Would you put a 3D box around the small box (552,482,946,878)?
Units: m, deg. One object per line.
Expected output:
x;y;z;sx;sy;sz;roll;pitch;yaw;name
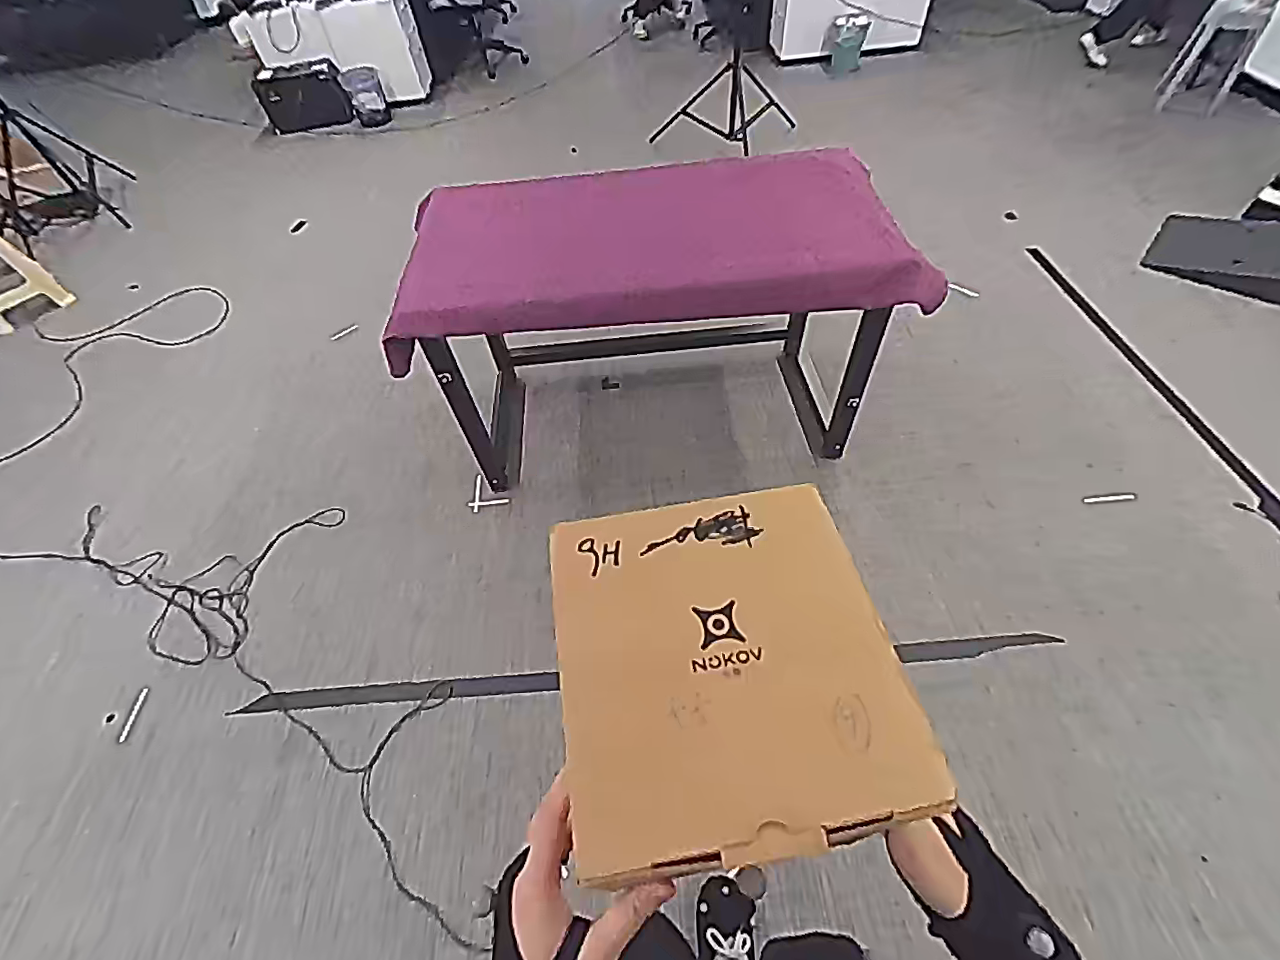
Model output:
0.044;0.129;0.340;0.168;0.176;0.179;-9;53;-5;small box
